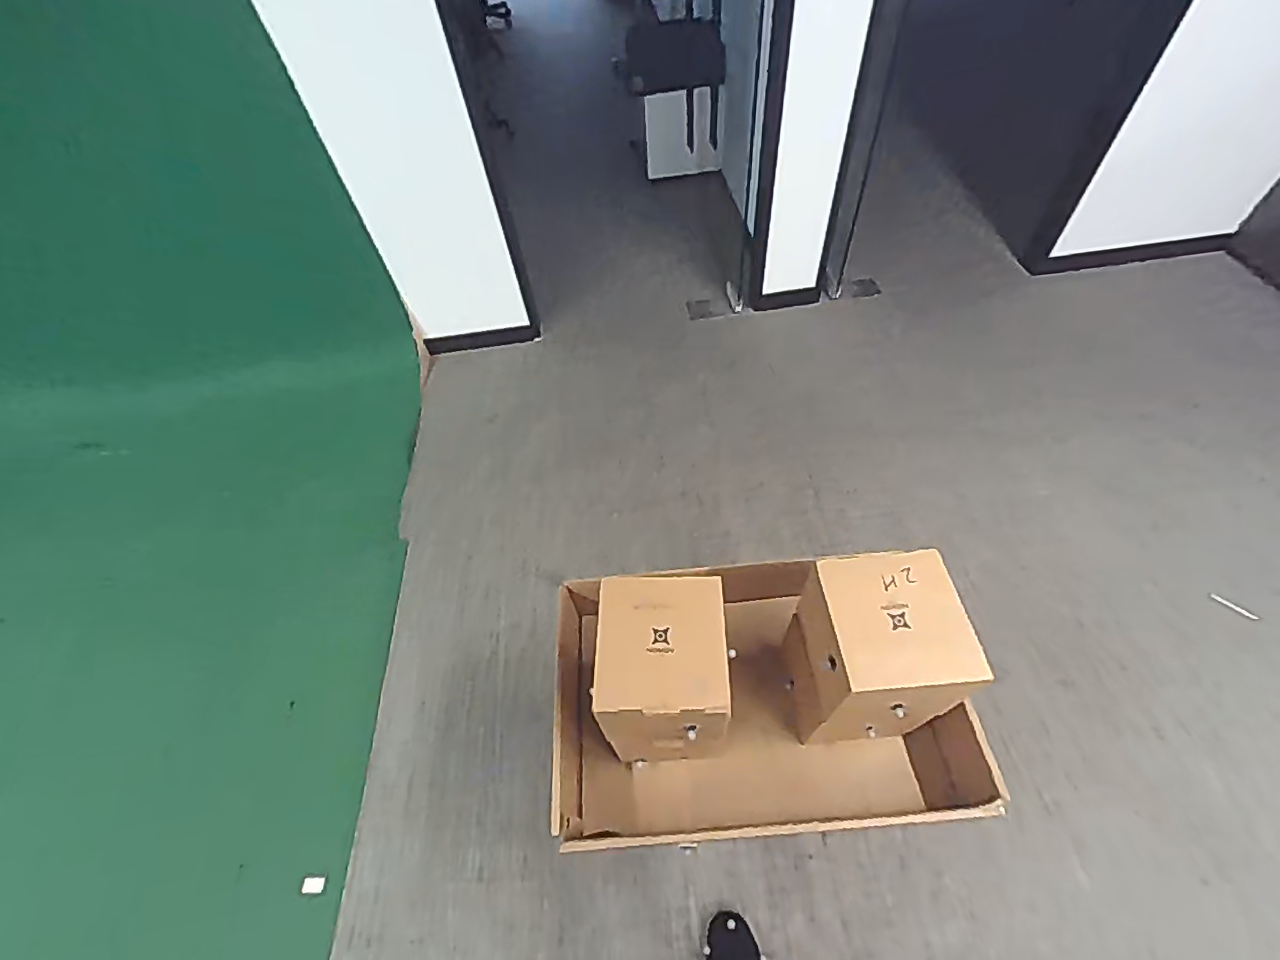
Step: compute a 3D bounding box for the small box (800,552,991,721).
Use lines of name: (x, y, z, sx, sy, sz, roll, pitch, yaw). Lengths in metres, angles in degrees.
small box: (0.327, 0.219, 0.734, 0.168, 0.176, 0.179, -5, 53, 2)

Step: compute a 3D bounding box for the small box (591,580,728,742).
small box: (0.033, 0.253, 0.745, 0.168, 0.176, 0.179, -1, 53, 4)
